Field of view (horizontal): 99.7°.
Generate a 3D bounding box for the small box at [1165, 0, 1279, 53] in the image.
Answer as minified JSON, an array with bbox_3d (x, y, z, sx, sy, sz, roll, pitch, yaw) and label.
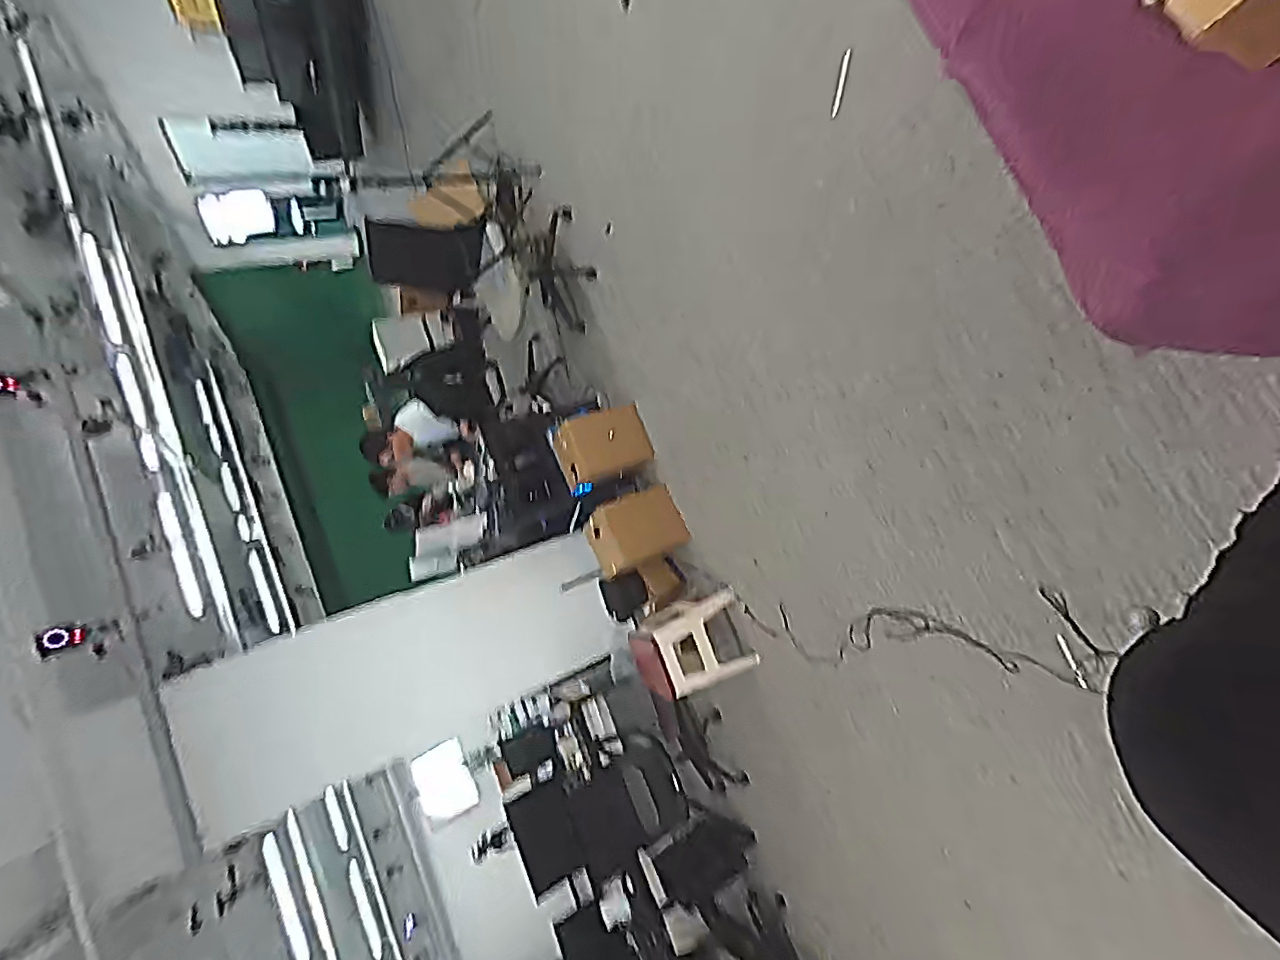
[{"bbox_3d":[0.399,-0.392,0.306,0.168,0.176,0.179,66,150,11],"label":"small box"}]
